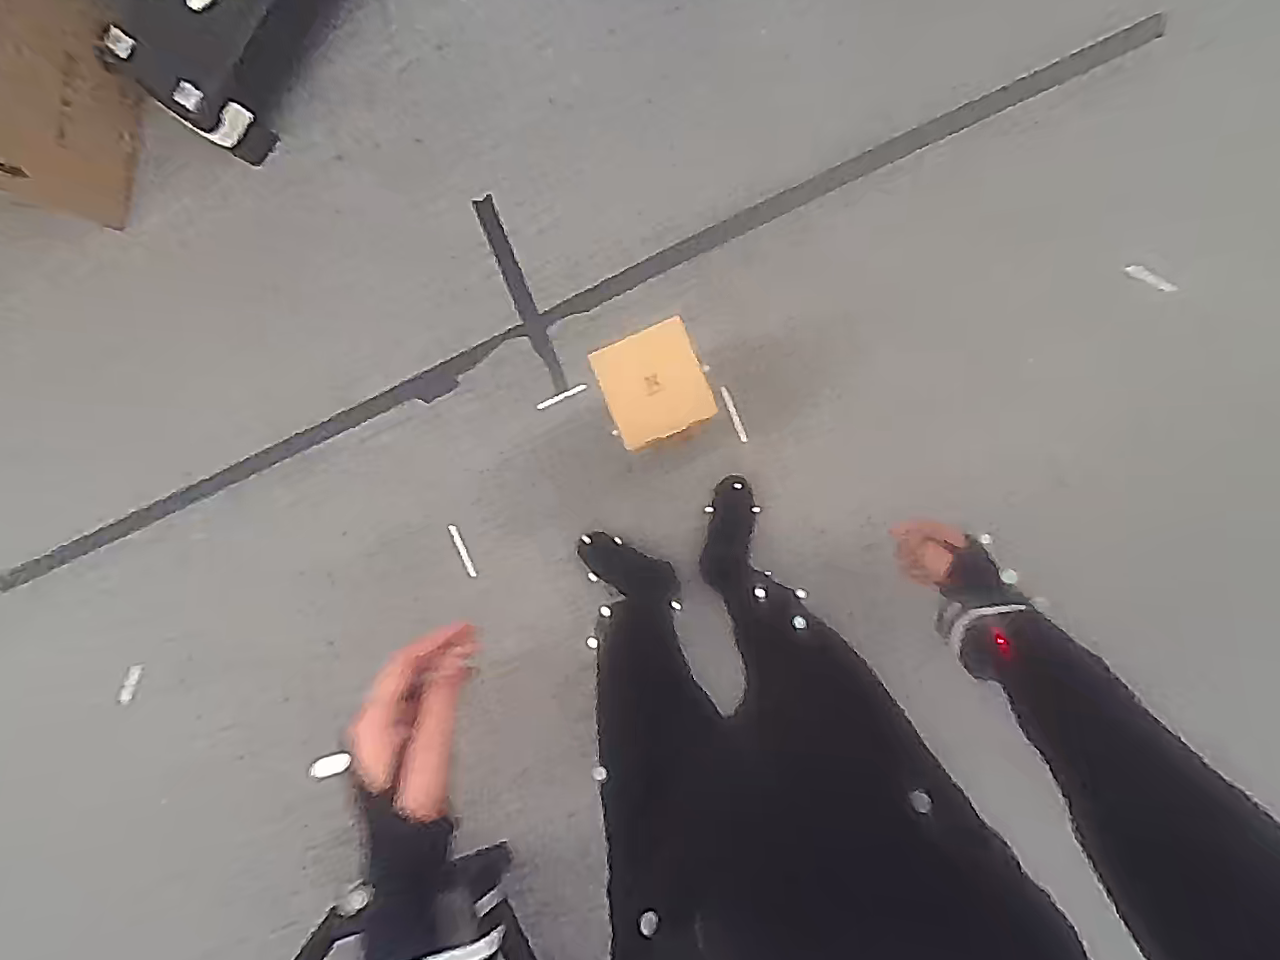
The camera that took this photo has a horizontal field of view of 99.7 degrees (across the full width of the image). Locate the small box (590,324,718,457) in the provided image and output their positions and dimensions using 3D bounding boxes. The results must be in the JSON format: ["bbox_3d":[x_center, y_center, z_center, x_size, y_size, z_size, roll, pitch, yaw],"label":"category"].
[{"bbox_3d":[0.026,-0.151,0.969,0.168,0.176,0.179,-23,93,5],"label":"small box"}]
